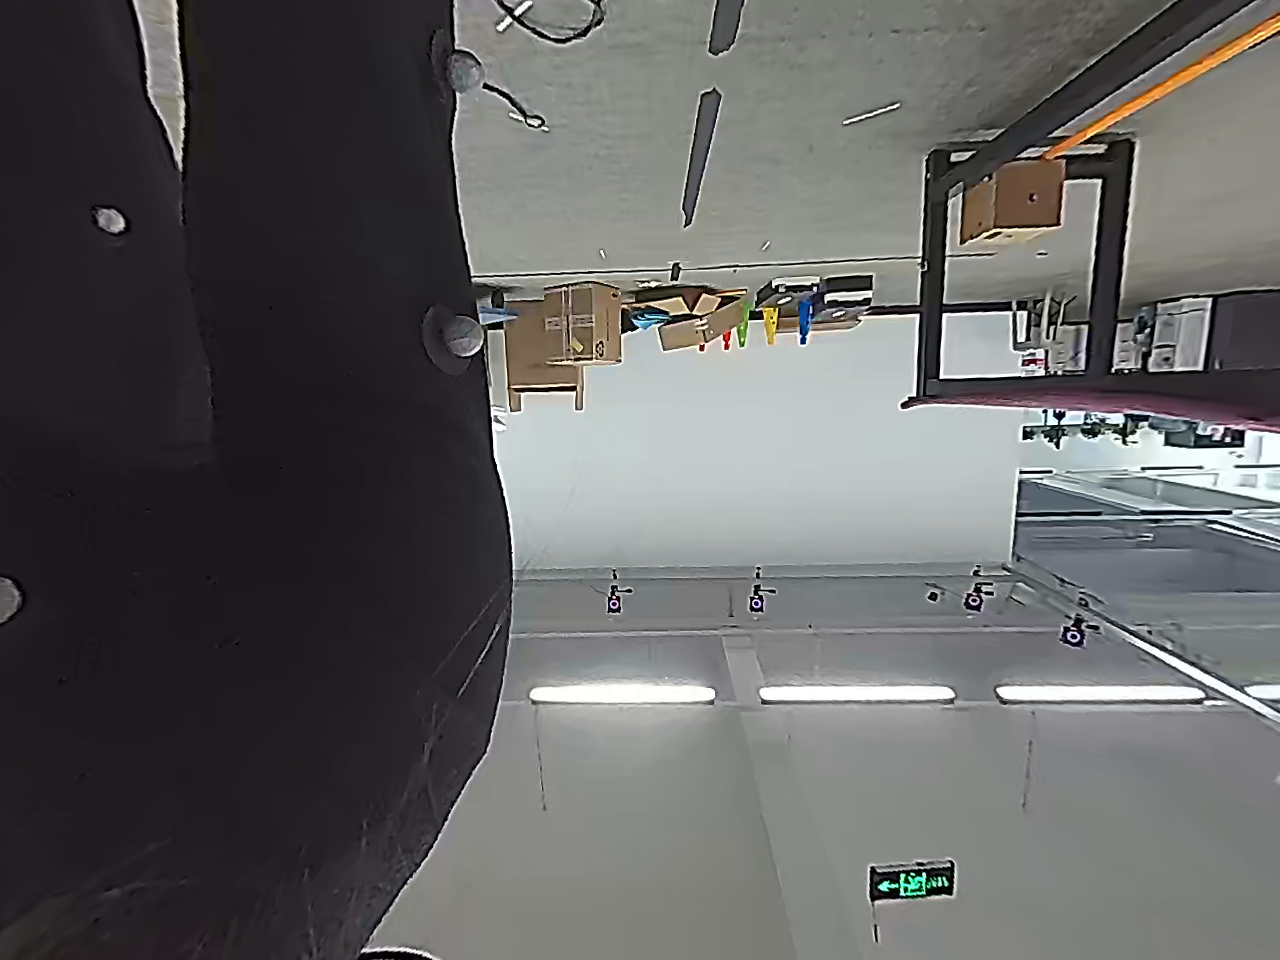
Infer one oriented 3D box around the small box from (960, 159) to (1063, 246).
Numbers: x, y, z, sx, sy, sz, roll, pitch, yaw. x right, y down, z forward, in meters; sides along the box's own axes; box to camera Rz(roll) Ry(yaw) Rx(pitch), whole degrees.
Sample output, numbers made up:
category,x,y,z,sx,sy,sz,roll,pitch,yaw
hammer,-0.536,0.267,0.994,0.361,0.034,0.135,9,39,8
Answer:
category,x,y,z,sx,sy,sz,roll,pitch,yaw
small box,1.013,-0.758,1.484,0.179,0.176,0.168,-2,-171,1
